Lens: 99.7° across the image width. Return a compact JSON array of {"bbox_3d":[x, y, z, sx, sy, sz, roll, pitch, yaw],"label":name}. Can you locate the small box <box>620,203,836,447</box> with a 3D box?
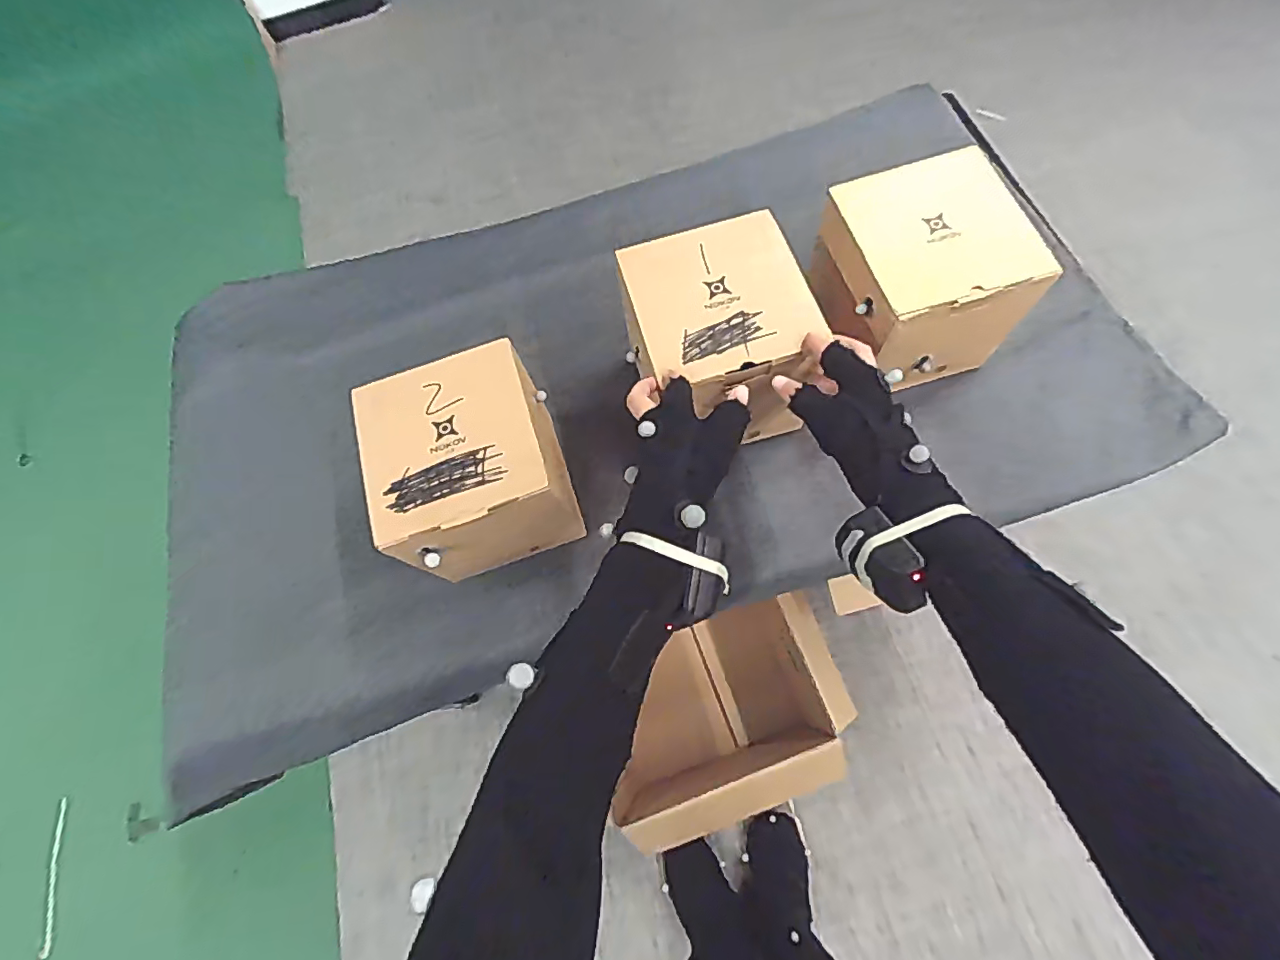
[{"bbox_3d":[0.086,-0.151,0.585,0.168,0.176,0.179,-16,68,-1],"label":"small box"}]

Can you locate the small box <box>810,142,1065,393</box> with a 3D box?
[{"bbox_3d":[0.306,-0.227,0.609,0.168,0.176,0.179,-16,70,0],"label":"small box"}]
